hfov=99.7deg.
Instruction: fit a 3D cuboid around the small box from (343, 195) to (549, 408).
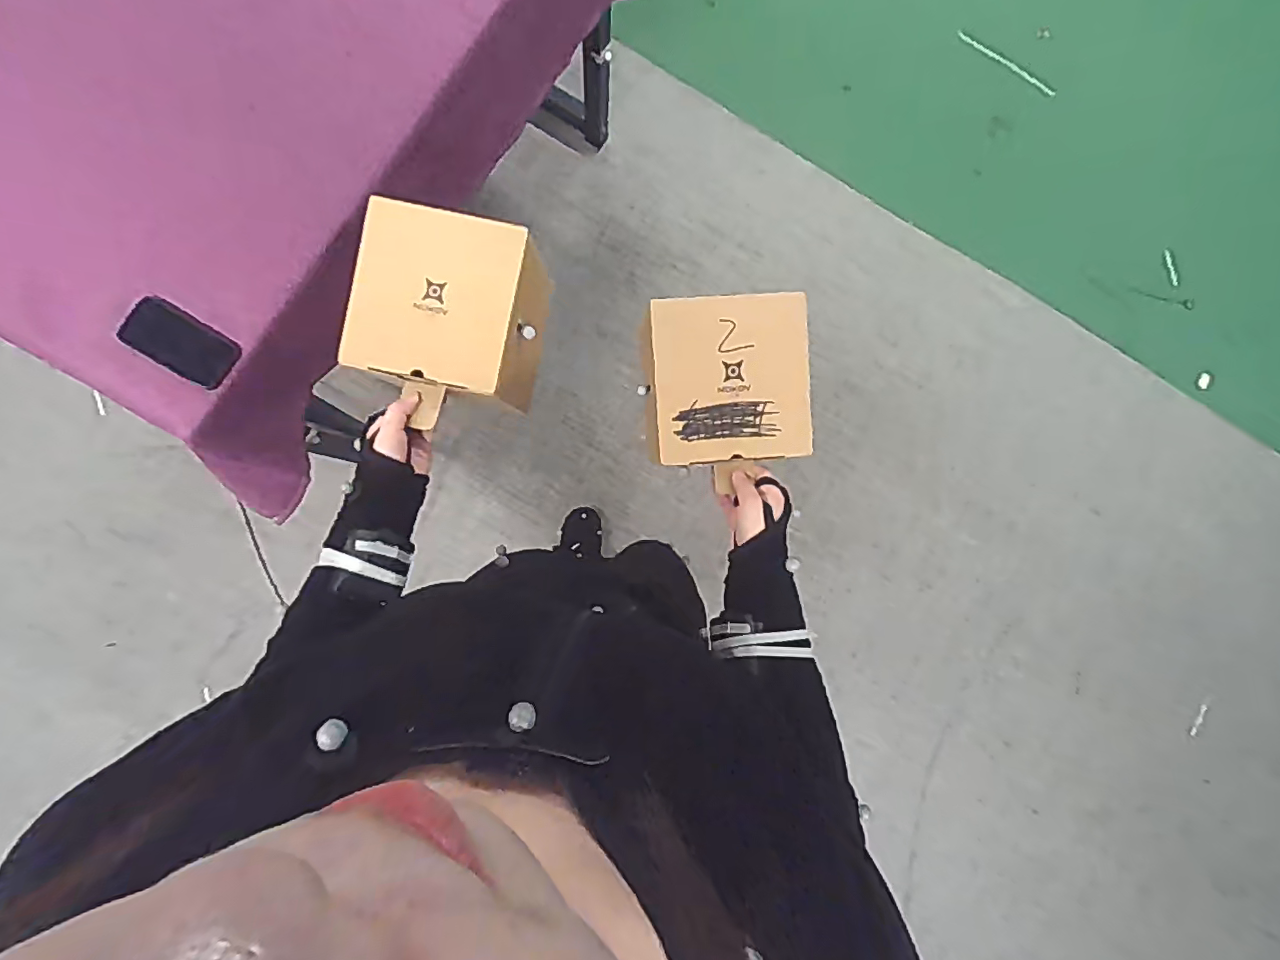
[{"bbox_3d":[-0.210,-0.192,0.635,0.168,0.176,0.179,12,91,0],"label":"small box"}]
